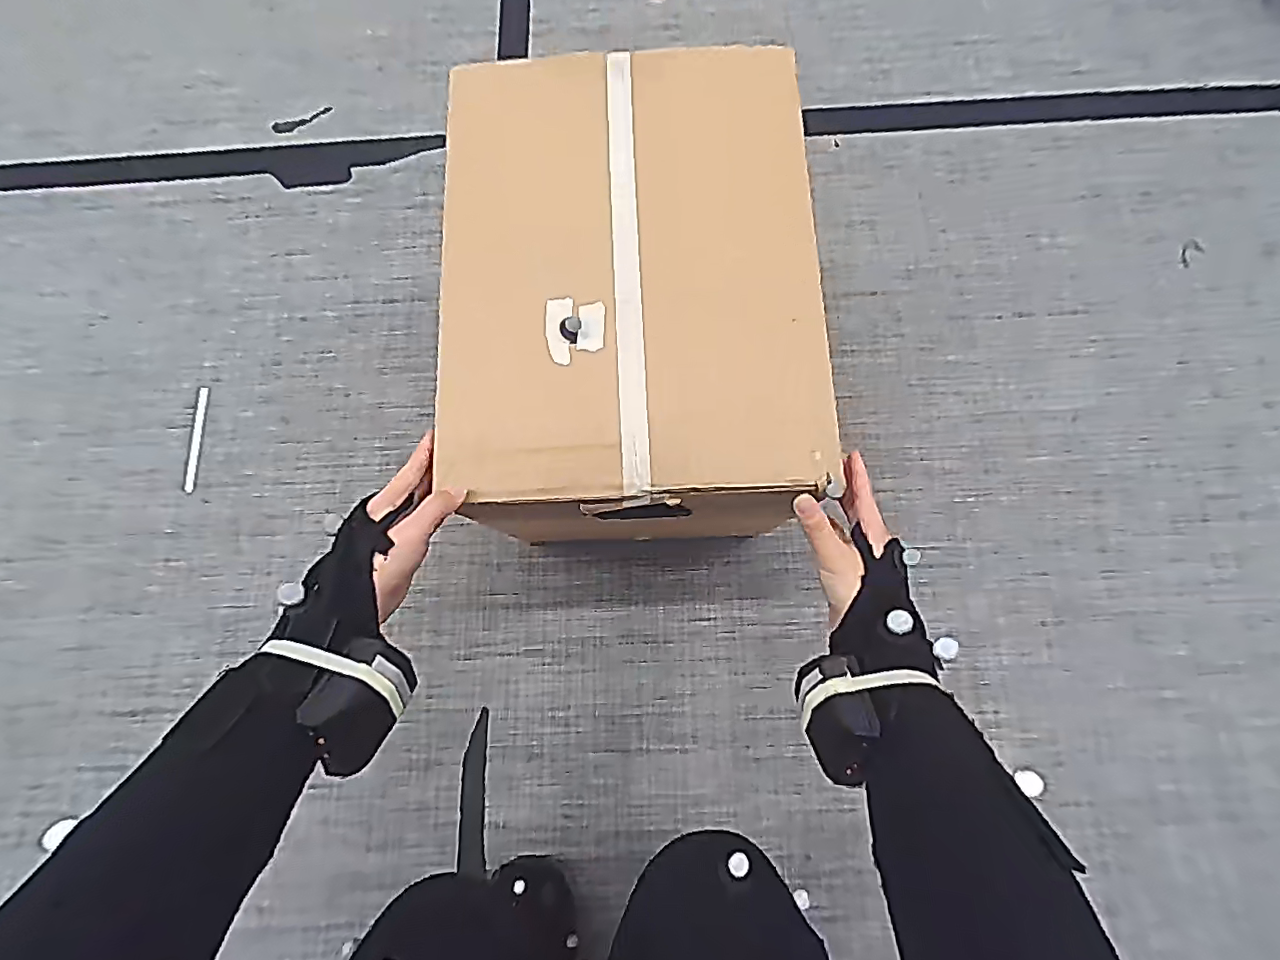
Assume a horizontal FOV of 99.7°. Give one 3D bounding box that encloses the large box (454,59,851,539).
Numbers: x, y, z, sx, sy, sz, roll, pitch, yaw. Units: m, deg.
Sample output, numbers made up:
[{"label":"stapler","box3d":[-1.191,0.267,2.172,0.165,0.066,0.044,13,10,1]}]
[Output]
[{"label":"large box","box3d":[-0.001,-0.155,0.601,0.320,0.320,0.408,-4,78,1]}]
